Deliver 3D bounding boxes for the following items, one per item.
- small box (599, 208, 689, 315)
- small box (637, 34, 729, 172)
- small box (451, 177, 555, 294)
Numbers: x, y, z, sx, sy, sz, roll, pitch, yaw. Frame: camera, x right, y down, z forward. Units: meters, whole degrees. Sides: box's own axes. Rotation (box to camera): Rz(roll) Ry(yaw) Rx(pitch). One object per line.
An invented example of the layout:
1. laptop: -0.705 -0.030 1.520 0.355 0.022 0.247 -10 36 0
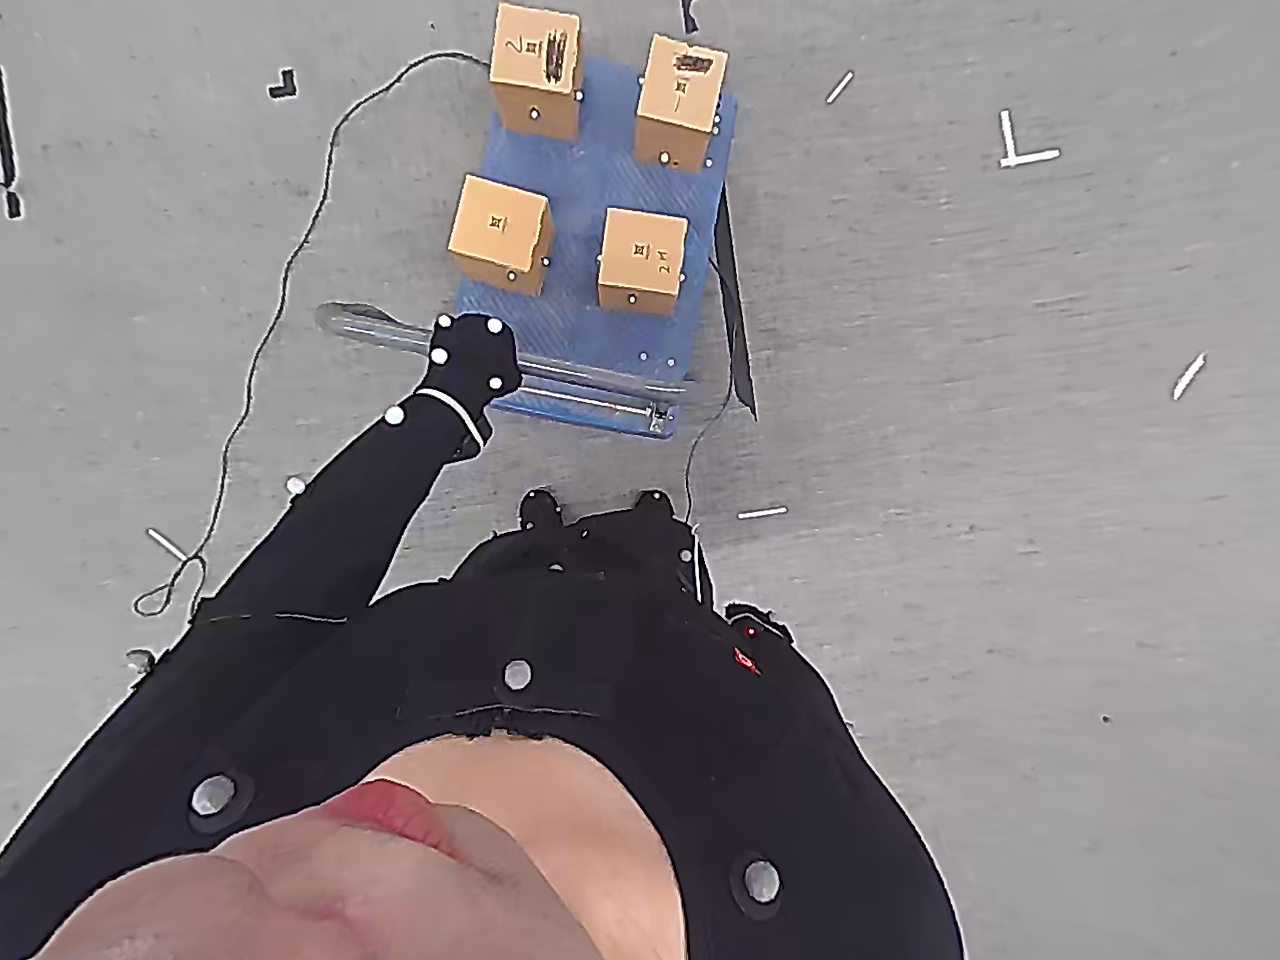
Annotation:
1. small box: 0.006 -0.487 1.230 0.179 0.176 0.168 7 90 -3
2. small box: 0.089 -0.845 1.230 0.168 0.176 0.179 12 91 -3
3. small box: -0.299 -0.538 1.214 0.179 0.176 0.168 14 89 -5
